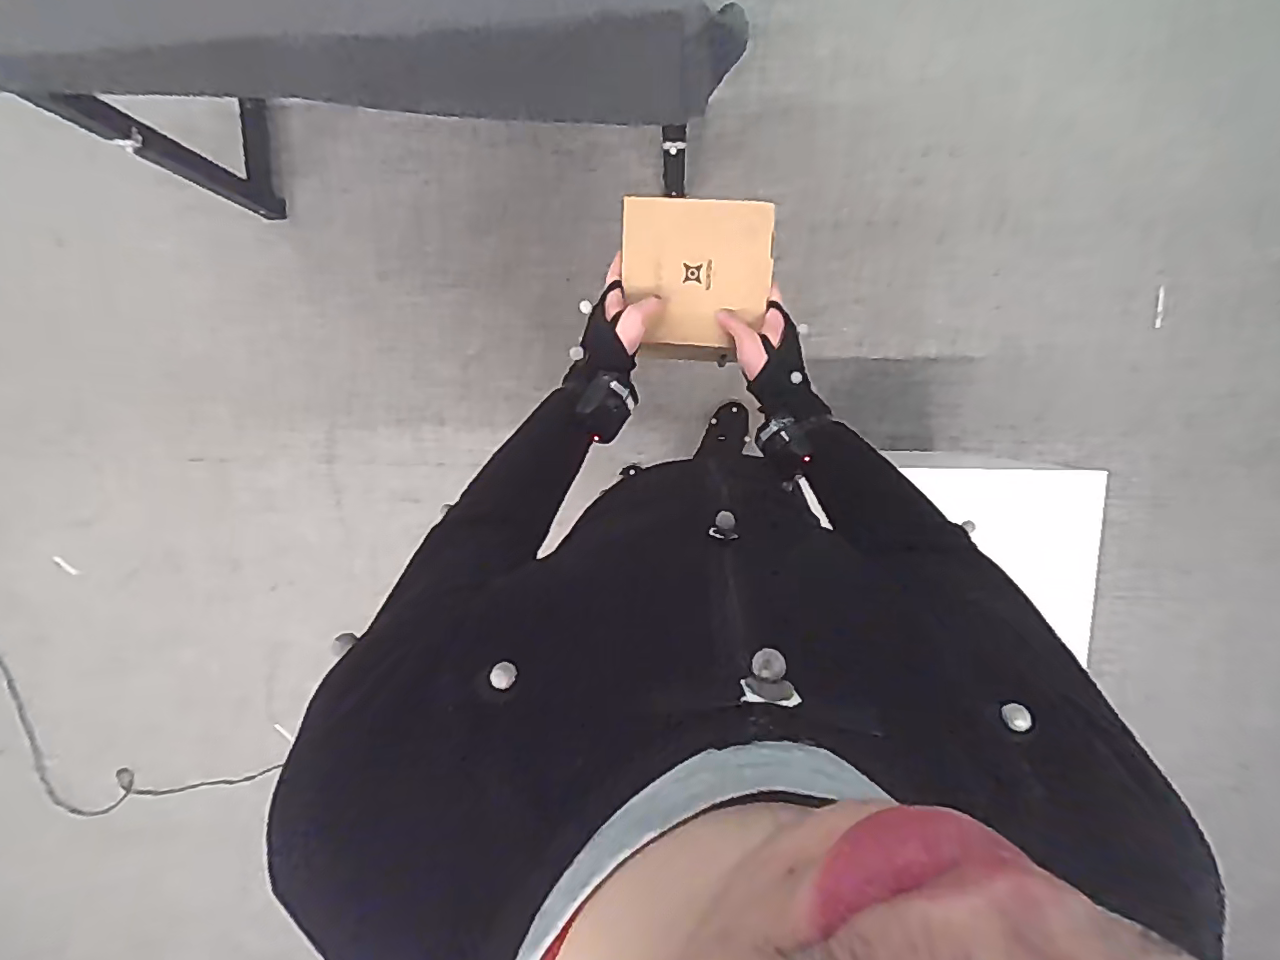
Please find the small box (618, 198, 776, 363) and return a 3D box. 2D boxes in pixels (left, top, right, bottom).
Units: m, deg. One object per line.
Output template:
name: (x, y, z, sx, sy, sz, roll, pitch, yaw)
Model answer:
small box: (0.068, -0.245, 0.699, 0.179, 0.176, 0.168, 3, 96, 4)
